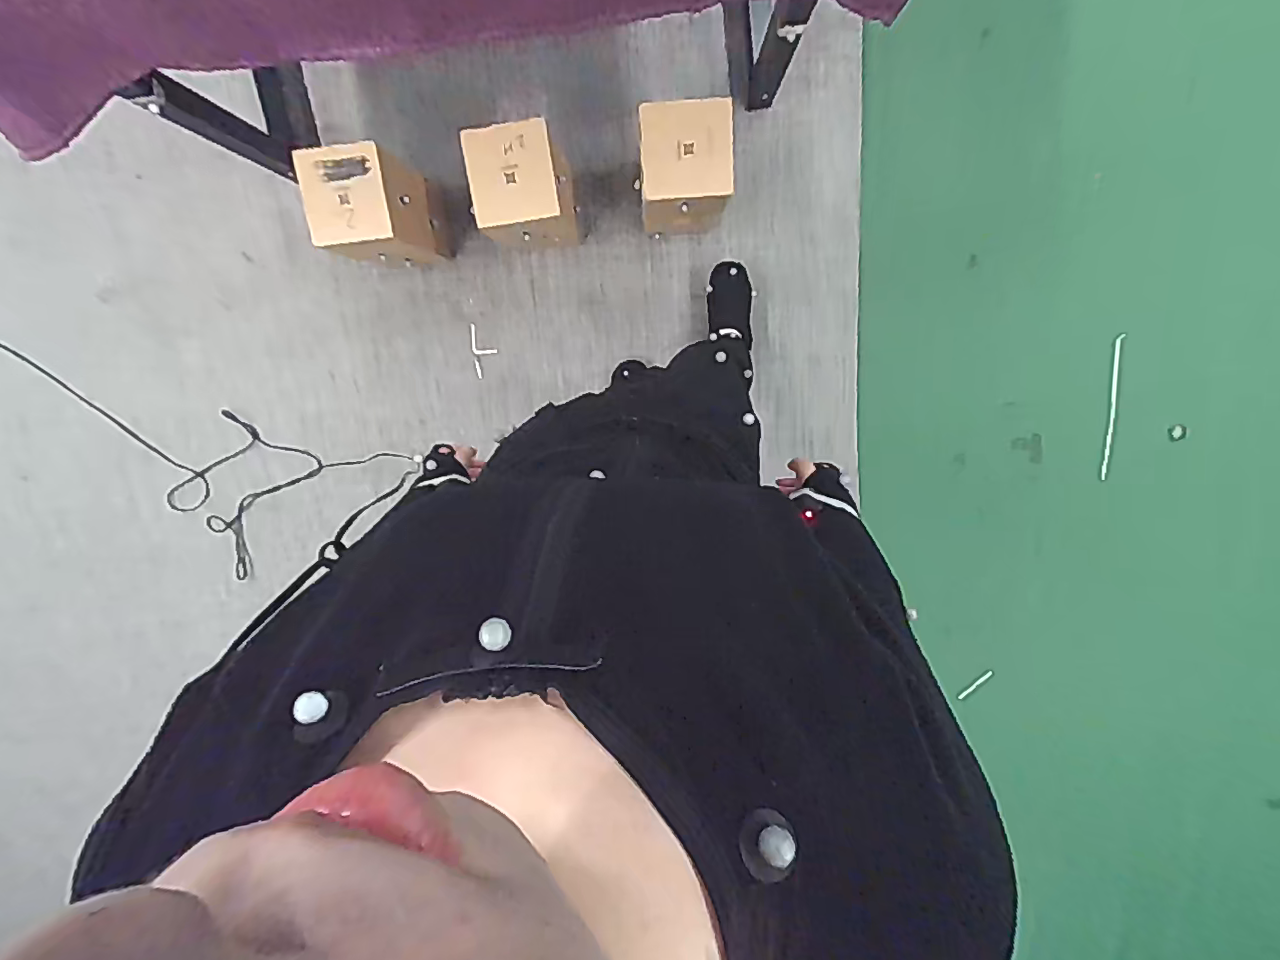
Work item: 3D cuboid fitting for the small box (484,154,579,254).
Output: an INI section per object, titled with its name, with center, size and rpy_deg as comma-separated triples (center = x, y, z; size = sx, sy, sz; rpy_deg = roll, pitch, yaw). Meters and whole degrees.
[small box]
center = -0.249, -0.642, 1.276
size = 0.179, 0.176, 0.168
rpy_deg = -6, 102, 2
